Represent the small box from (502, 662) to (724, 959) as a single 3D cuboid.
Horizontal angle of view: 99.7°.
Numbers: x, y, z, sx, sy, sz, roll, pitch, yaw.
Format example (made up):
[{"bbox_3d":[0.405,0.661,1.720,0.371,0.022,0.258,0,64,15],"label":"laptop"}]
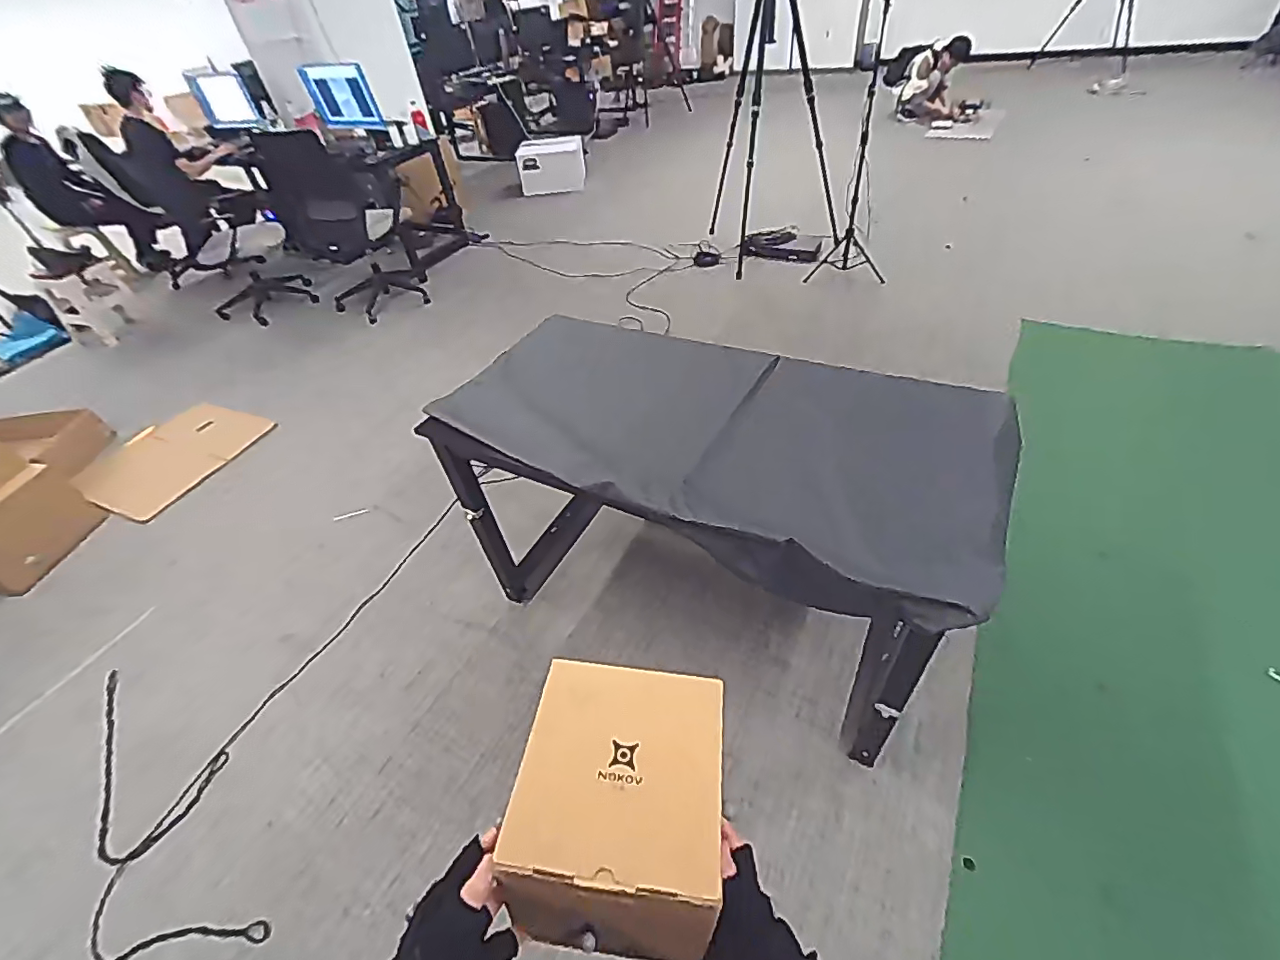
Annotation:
[{"bbox_3d":[-0.016,0.304,0.506,0.168,0.176,0.179,6,38,5],"label":"small box"}]
